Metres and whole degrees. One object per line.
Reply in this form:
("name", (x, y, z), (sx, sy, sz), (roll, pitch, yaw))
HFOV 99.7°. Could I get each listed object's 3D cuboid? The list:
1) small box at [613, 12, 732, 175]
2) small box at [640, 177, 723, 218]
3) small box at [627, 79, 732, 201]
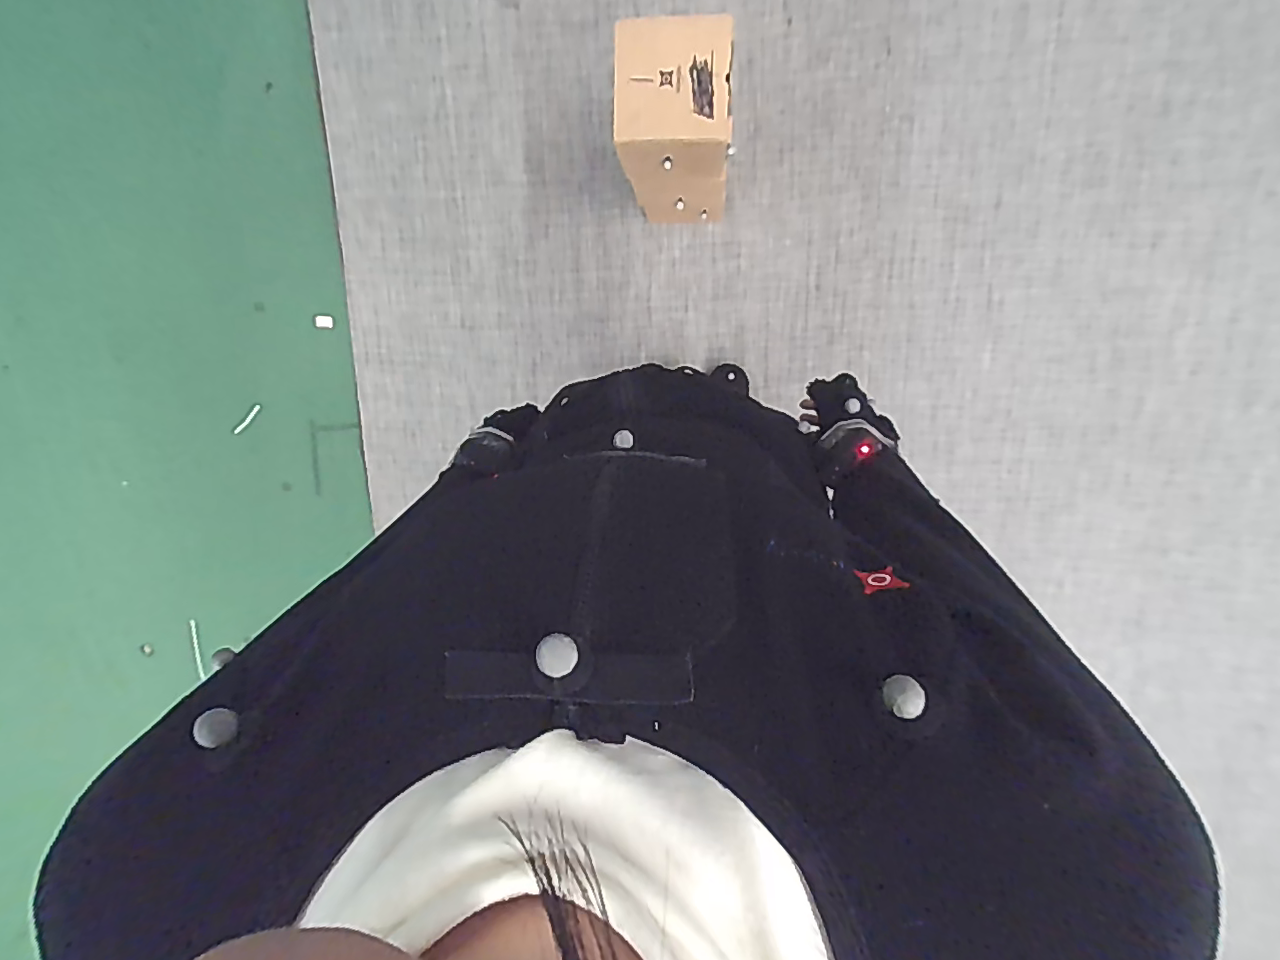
("small box", (0.054, -0.614, 0.880), (0.179, 0.176, 0.168), (0, 103, 5))
("small box", (0.095, -0.690, 1.196), (0.179, 0.176, 0.168), (1, 102, 8))
("small box", (0.076, -0.648, 1.039), (0.179, 0.176, 0.168), (5, 103, 5))
